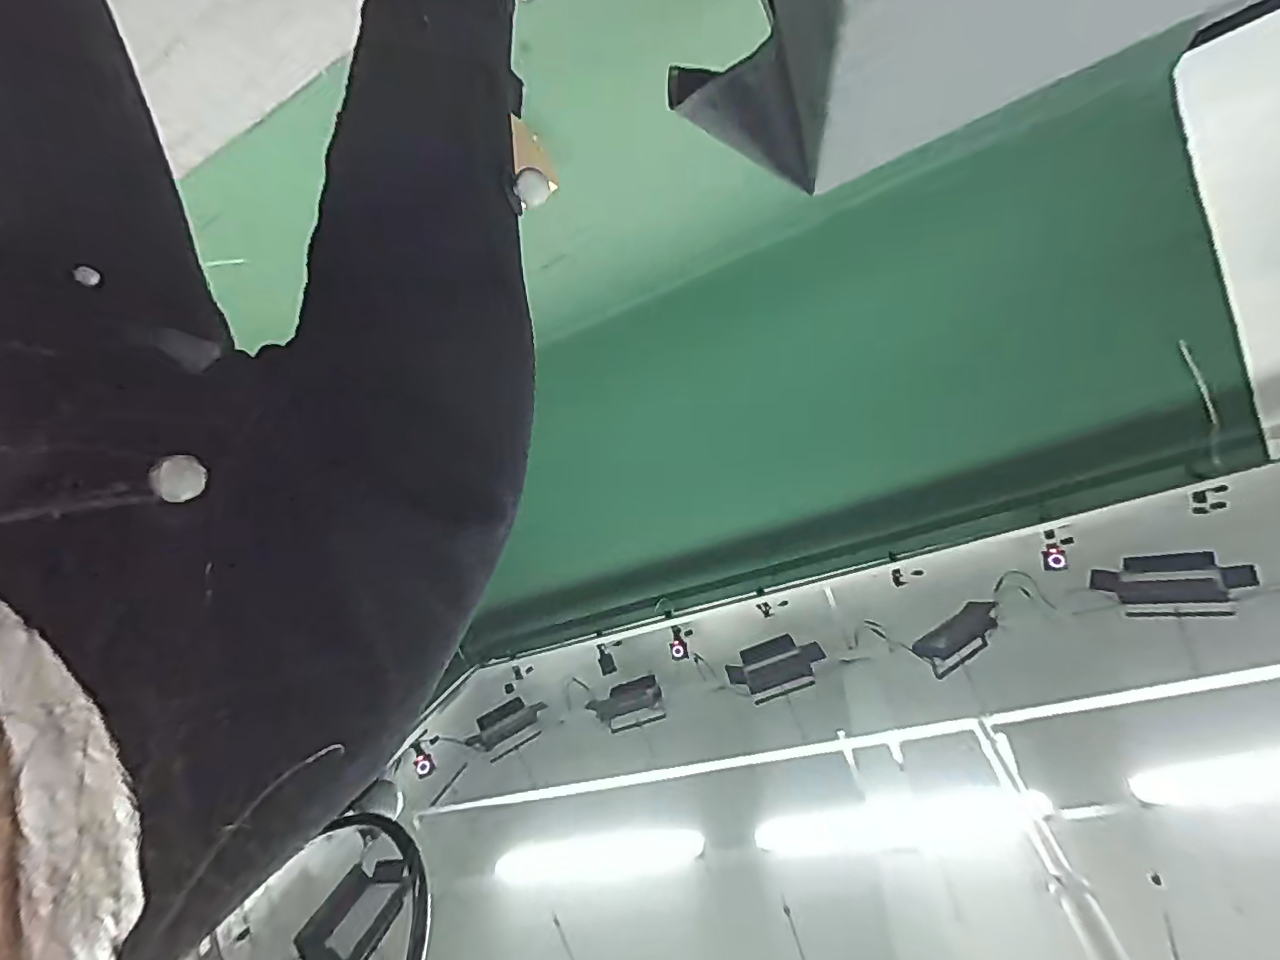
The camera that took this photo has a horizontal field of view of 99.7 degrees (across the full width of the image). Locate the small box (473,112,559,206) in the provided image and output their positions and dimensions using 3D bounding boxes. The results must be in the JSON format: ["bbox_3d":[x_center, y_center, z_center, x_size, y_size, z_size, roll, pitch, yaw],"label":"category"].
[{"bbox_3d":[-0.381,-0.986,1.662,0.168,0.176,0.179,-19,-175,19],"label":"small box"}]
